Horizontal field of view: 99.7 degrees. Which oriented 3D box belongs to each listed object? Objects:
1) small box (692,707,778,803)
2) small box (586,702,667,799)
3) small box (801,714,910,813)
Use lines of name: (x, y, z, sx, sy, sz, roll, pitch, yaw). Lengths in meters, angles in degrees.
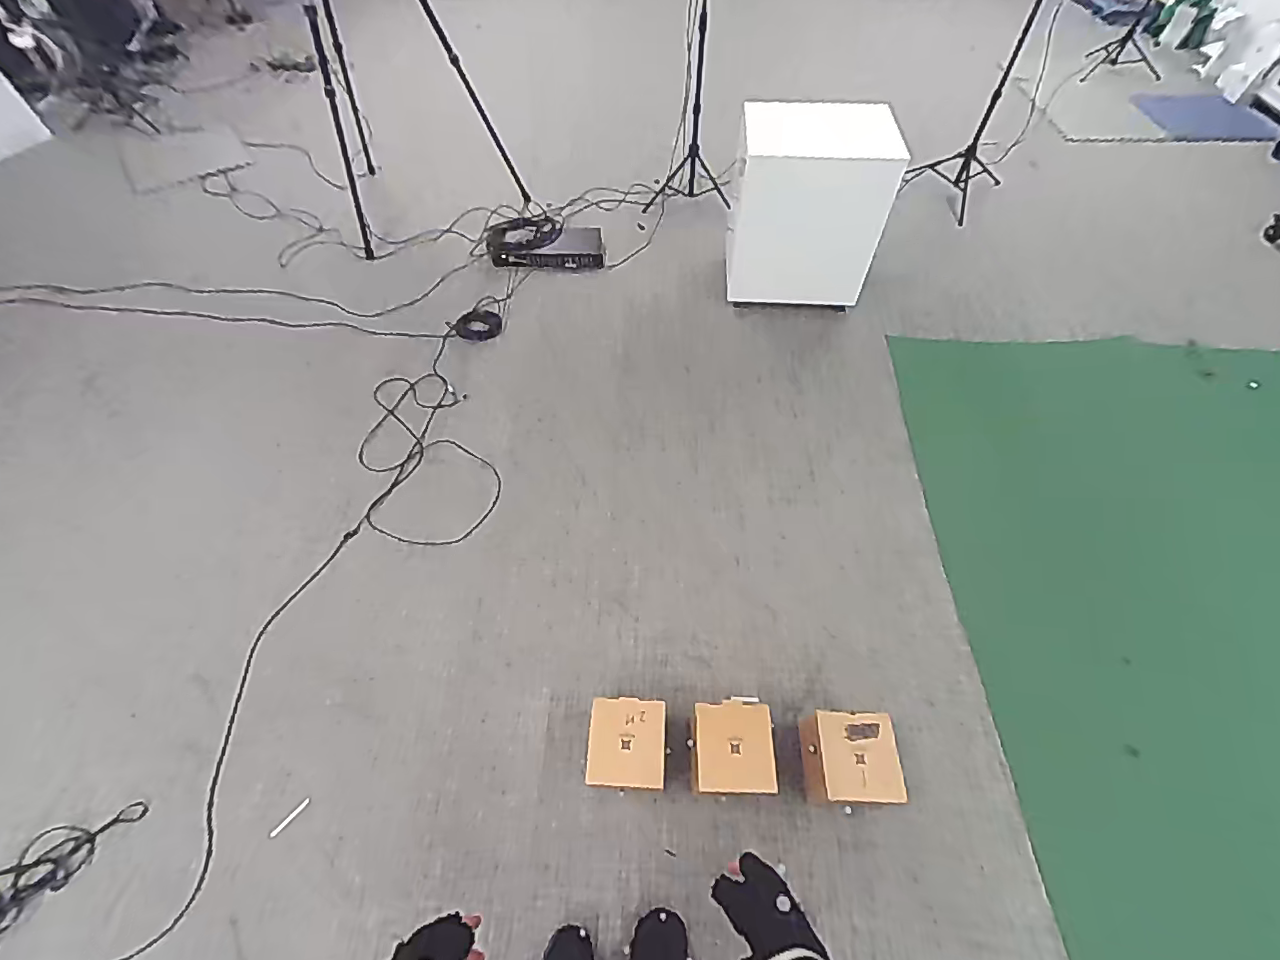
small box: (0.207, 0.624, 1.221, 0.168, 0.176, 0.179, 1, 55, 0)
small box: (-0.024, 0.616, 1.225, 0.168, 0.176, 0.179, 3, 56, 1)
small box: (0.471, 0.636, 1.211, 0.168, 0.176, 0.179, 1, 56, 1)
